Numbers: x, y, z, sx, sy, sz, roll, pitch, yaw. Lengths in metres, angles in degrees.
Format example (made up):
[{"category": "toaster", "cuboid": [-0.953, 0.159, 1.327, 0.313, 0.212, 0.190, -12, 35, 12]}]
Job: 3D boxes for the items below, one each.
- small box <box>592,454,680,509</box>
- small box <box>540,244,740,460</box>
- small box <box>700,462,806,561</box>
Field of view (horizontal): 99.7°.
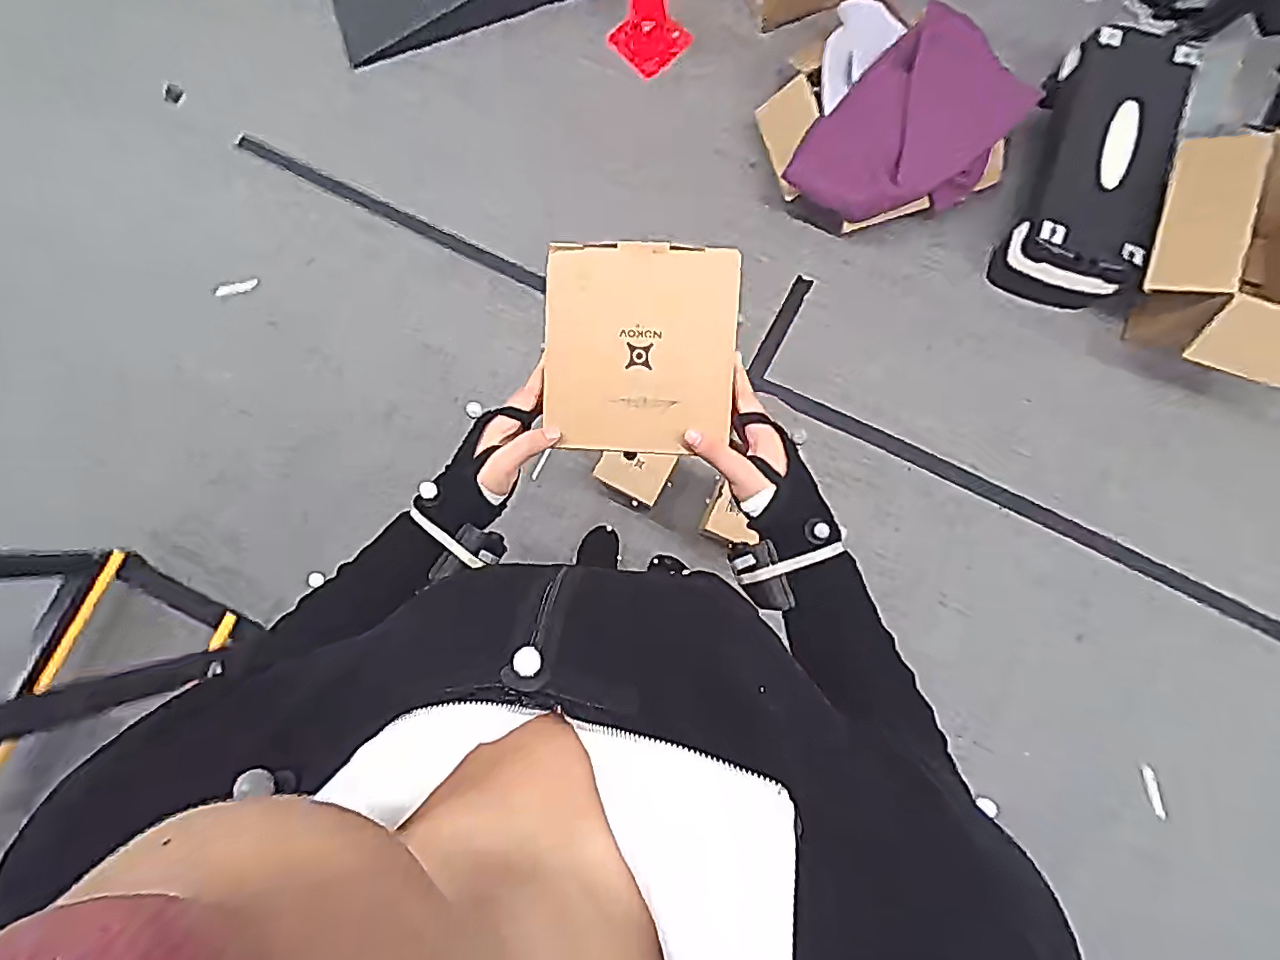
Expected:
[{"category": "small box", "cuboid": [-0.005, -0.033, 1.434, 0.179, 0.176, 0.168, 28, 86, 5]}, {"category": "small box", "cuboid": [0.001, -0.116, 0.536, 0.168, 0.176, 0.179, 2, 98, 3]}, {"category": "small box", "cuboid": [0.250, 0.077, 1.249, 0.179, 0.176, 0.168, 25, 86, 3]}]
